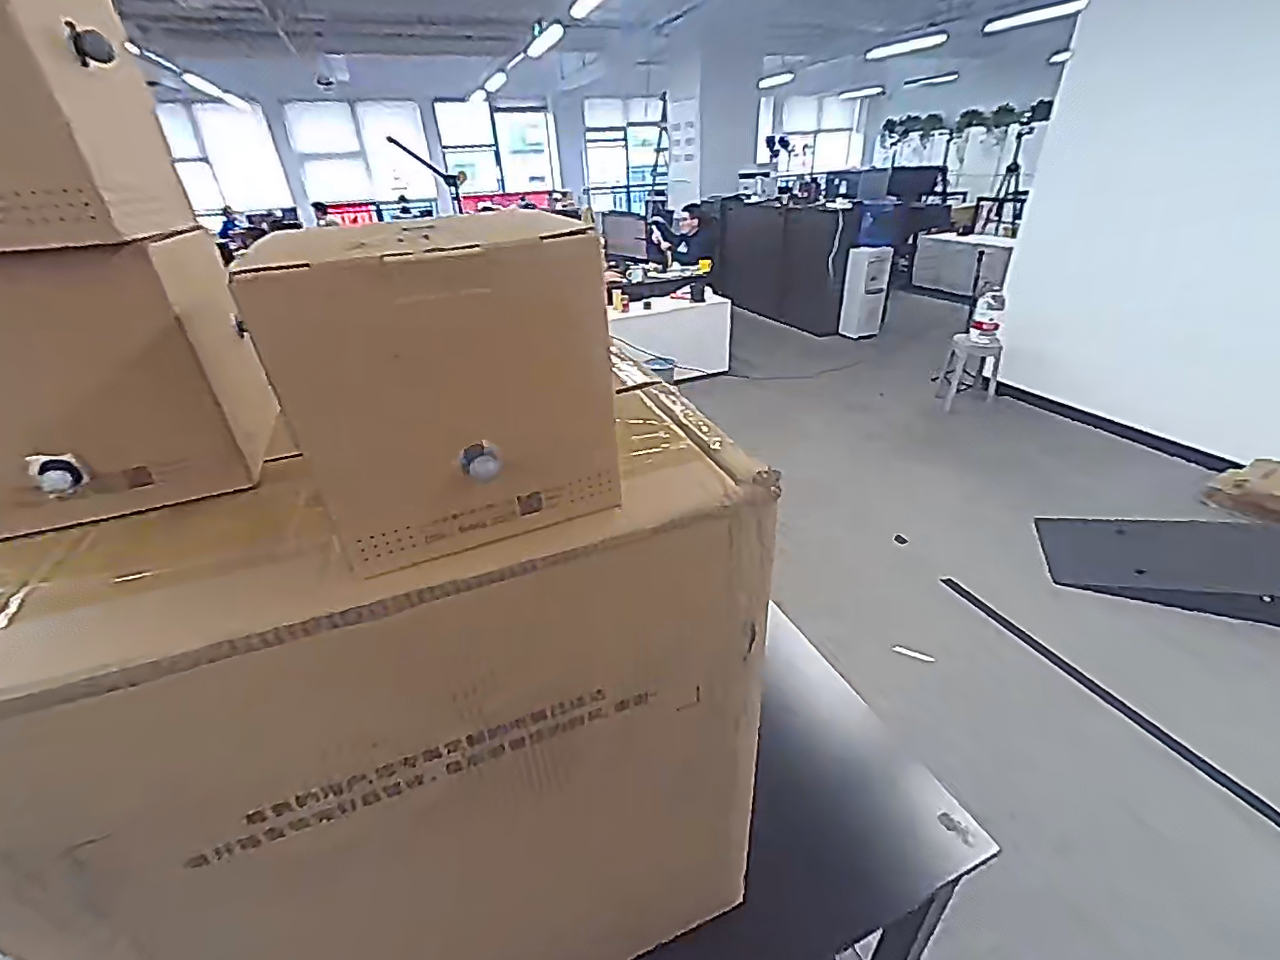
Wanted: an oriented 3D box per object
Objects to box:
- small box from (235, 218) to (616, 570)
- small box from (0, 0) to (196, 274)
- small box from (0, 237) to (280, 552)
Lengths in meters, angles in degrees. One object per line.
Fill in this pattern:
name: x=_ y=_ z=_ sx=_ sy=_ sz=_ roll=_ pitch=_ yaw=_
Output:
small box: x=-0.125 y=-0.070 z=0.360 sx=0.168 sy=0.176 sz=0.179 roll=-16 pitch=33 yaw=-18
small box: x=-0.394 y=-0.210 z=0.302 sx=0.168 sy=0.176 sz=0.179 roll=-15 pitch=32 yaw=-20
small box: x=-0.389 y=-0.075 z=0.397 sx=0.168 sy=0.176 sz=0.179 roll=-17 pitch=33 yaw=-21
